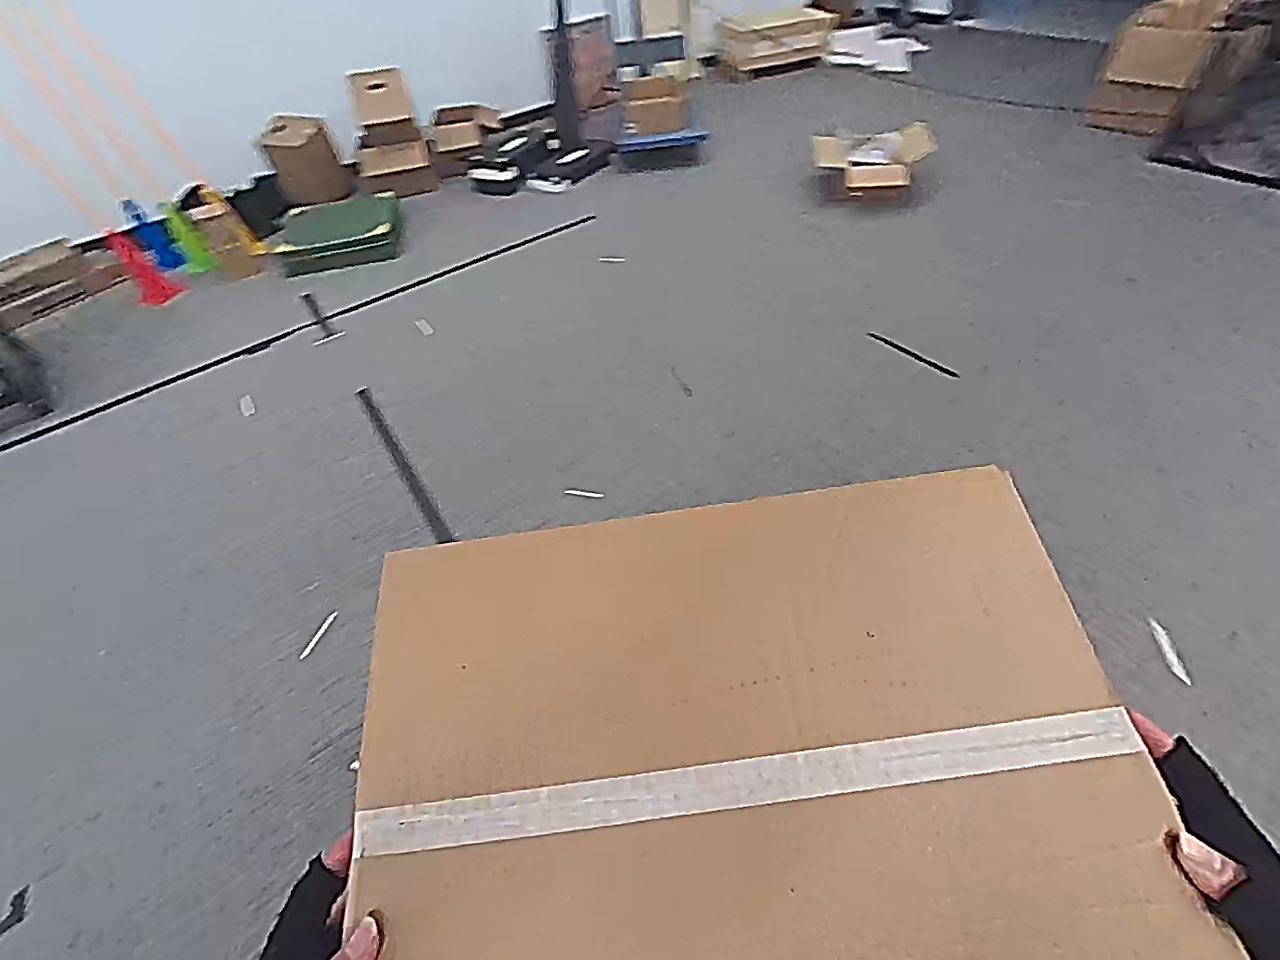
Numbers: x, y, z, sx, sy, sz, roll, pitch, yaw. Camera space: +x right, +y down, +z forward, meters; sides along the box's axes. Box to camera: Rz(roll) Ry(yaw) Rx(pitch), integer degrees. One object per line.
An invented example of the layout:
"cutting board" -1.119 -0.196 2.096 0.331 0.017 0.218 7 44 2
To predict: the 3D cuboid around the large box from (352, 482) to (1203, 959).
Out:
"large box" 0.061 0.234 0.422 0.408 0.320 0.320 -10 62 1
